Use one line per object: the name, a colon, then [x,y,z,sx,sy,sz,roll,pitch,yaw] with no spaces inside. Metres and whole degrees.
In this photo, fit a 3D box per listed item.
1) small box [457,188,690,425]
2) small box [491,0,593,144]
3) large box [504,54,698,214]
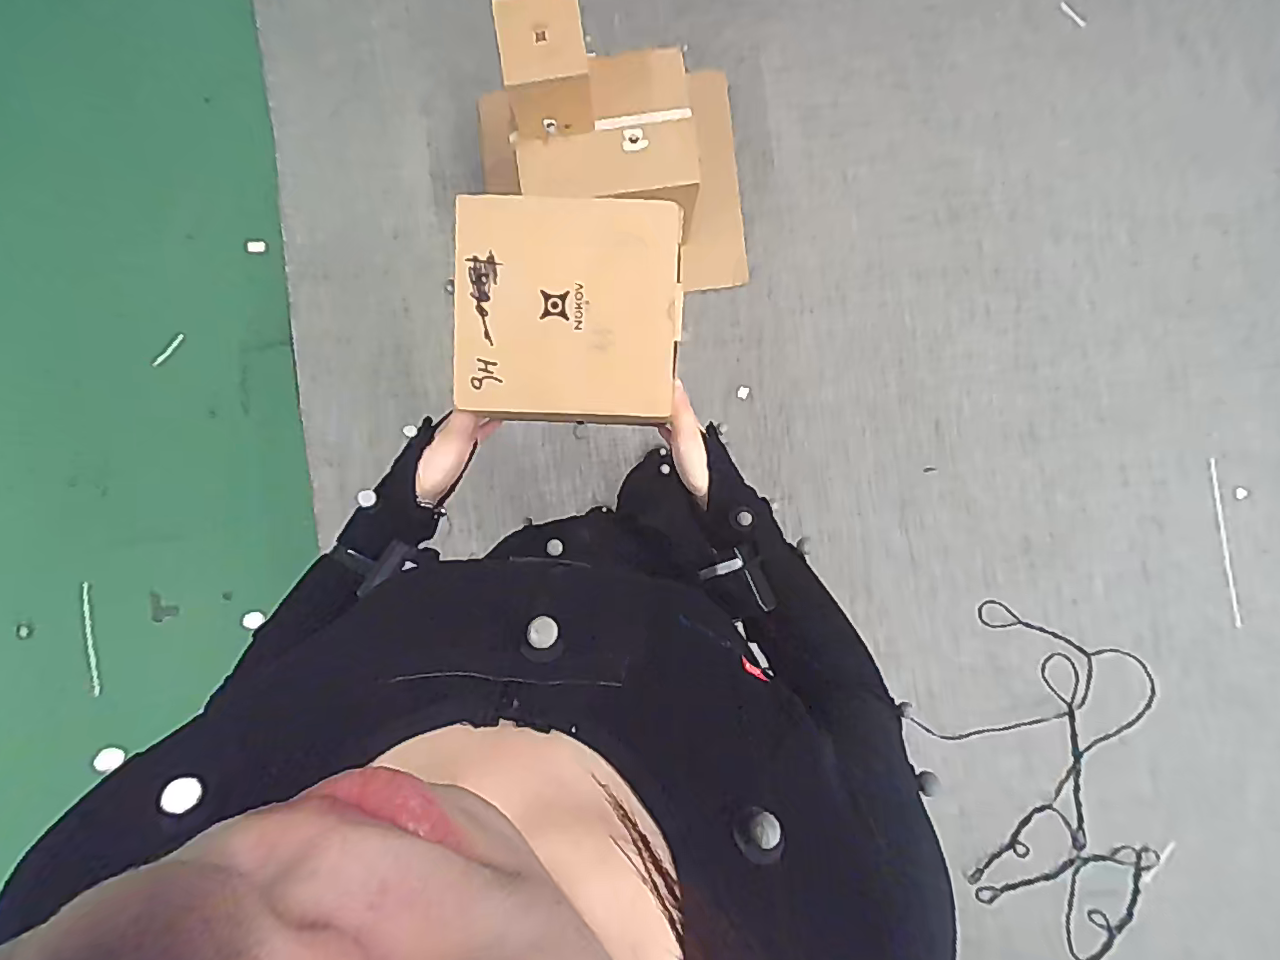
small box: [-0.055,-0.140,0.498,0.179,0.176,0.168,3,92,-2]
small box: [-0.193,-0.834,1.108,0.168,0.176,0.179,-10,89,-1]
large box: [-0.093,-0.774,1.352,0.408,0.320,0.320,-8,90,-2]
